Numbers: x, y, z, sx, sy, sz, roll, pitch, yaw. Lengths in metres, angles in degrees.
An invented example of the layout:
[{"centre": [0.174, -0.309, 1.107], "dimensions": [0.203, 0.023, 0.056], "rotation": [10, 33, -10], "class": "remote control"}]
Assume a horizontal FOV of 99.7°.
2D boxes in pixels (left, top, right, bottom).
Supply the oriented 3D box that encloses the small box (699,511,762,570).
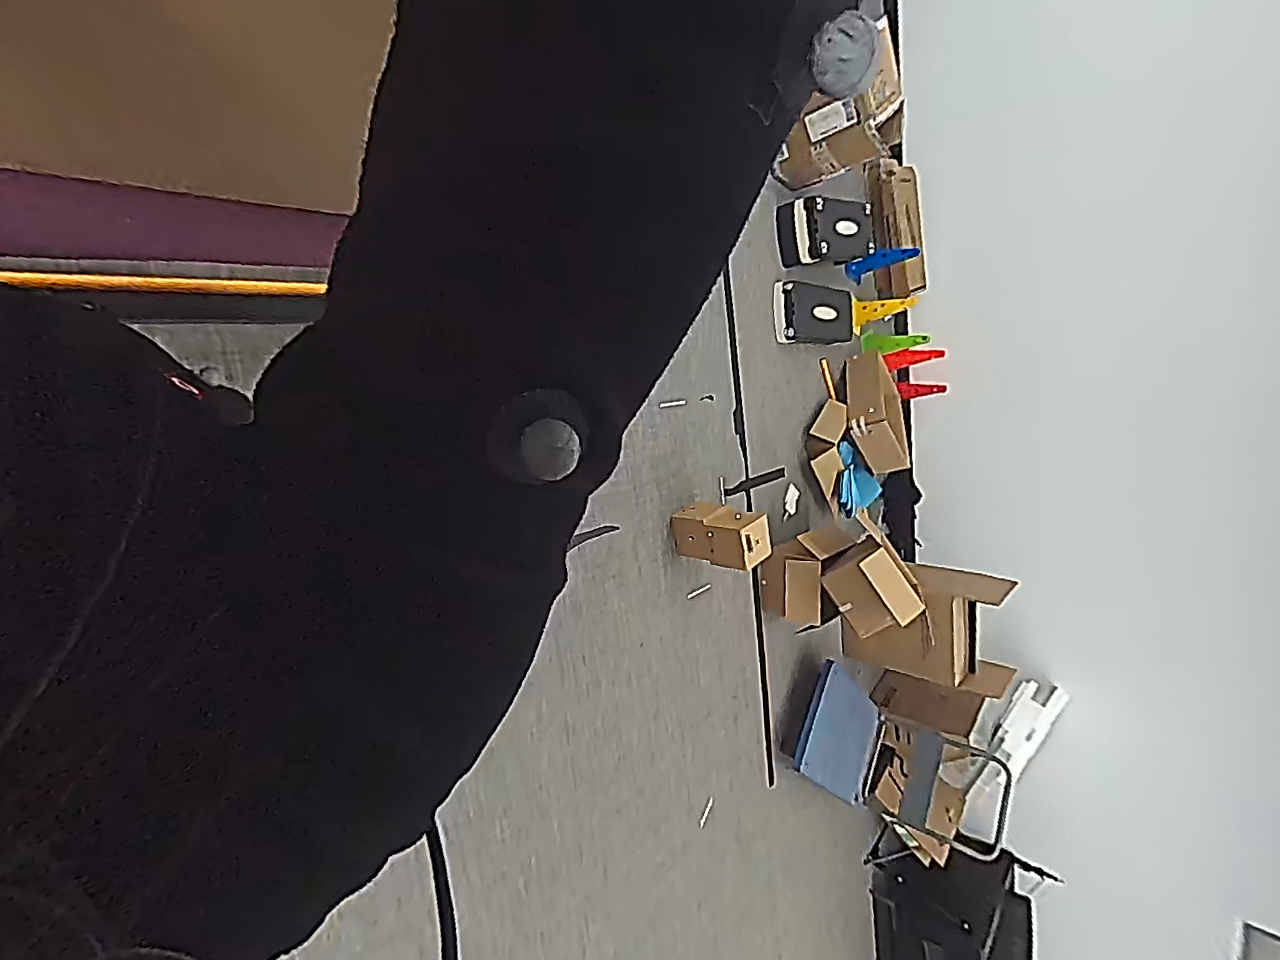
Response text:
[{"centre": [0.338, 0.225, 2.052], "dimensions": [0.179, 0.176, 0.168], "rotation": [-23, 109, -43], "class": "small box"}]
